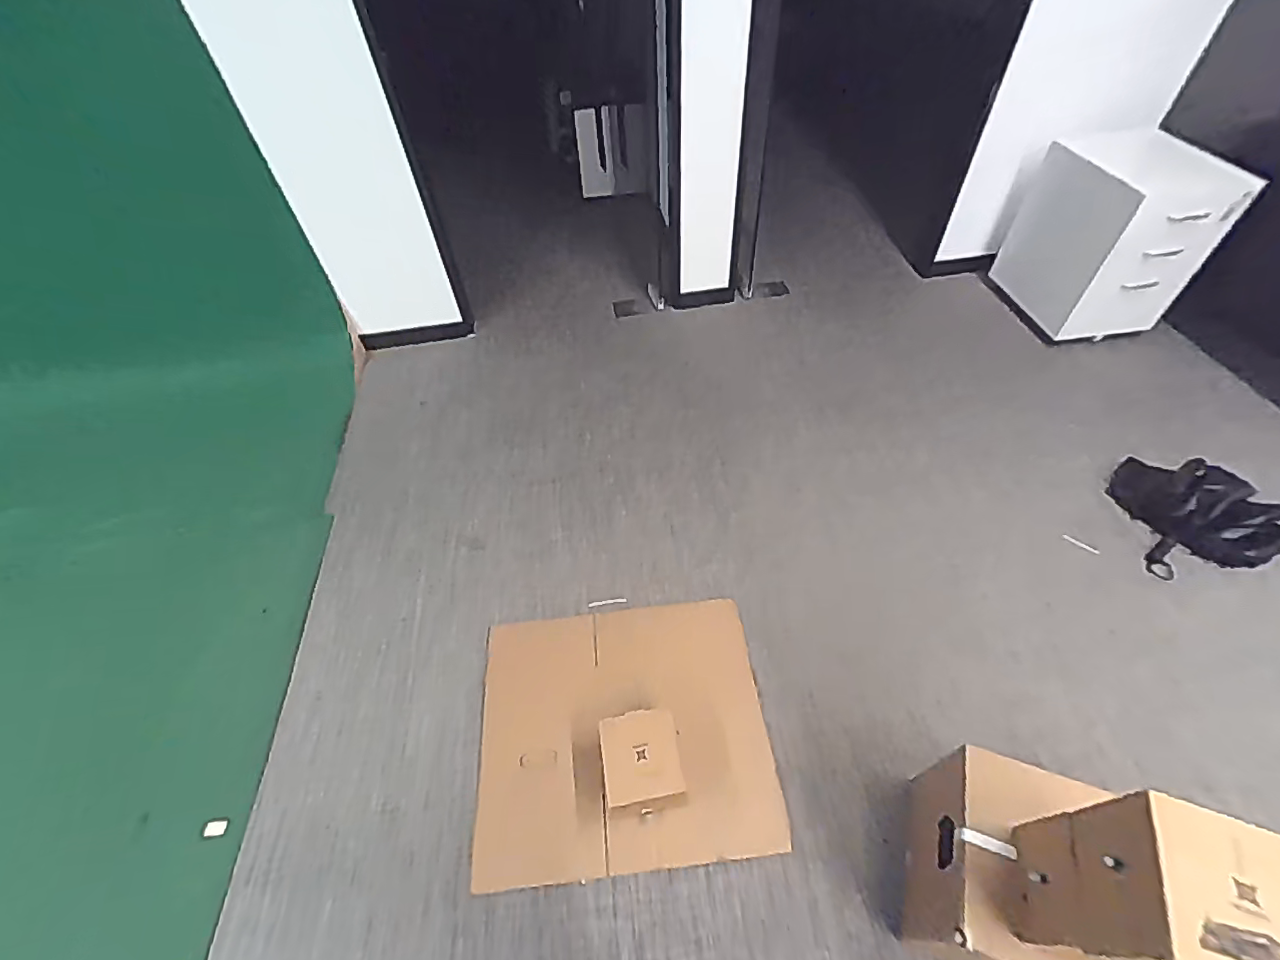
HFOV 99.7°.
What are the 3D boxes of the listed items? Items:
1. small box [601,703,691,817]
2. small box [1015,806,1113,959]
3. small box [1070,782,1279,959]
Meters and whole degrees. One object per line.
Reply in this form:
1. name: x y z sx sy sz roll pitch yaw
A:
1. small box: 0.015 0.626 1.206 0.168 0.176 0.179 -12 51 -1
2. small box: 0.682 0.610 0.791 0.179 0.176 0.168 12 51 12
3. small box: 0.665 0.509 0.659 0.168 0.176 0.179 16 52 16
